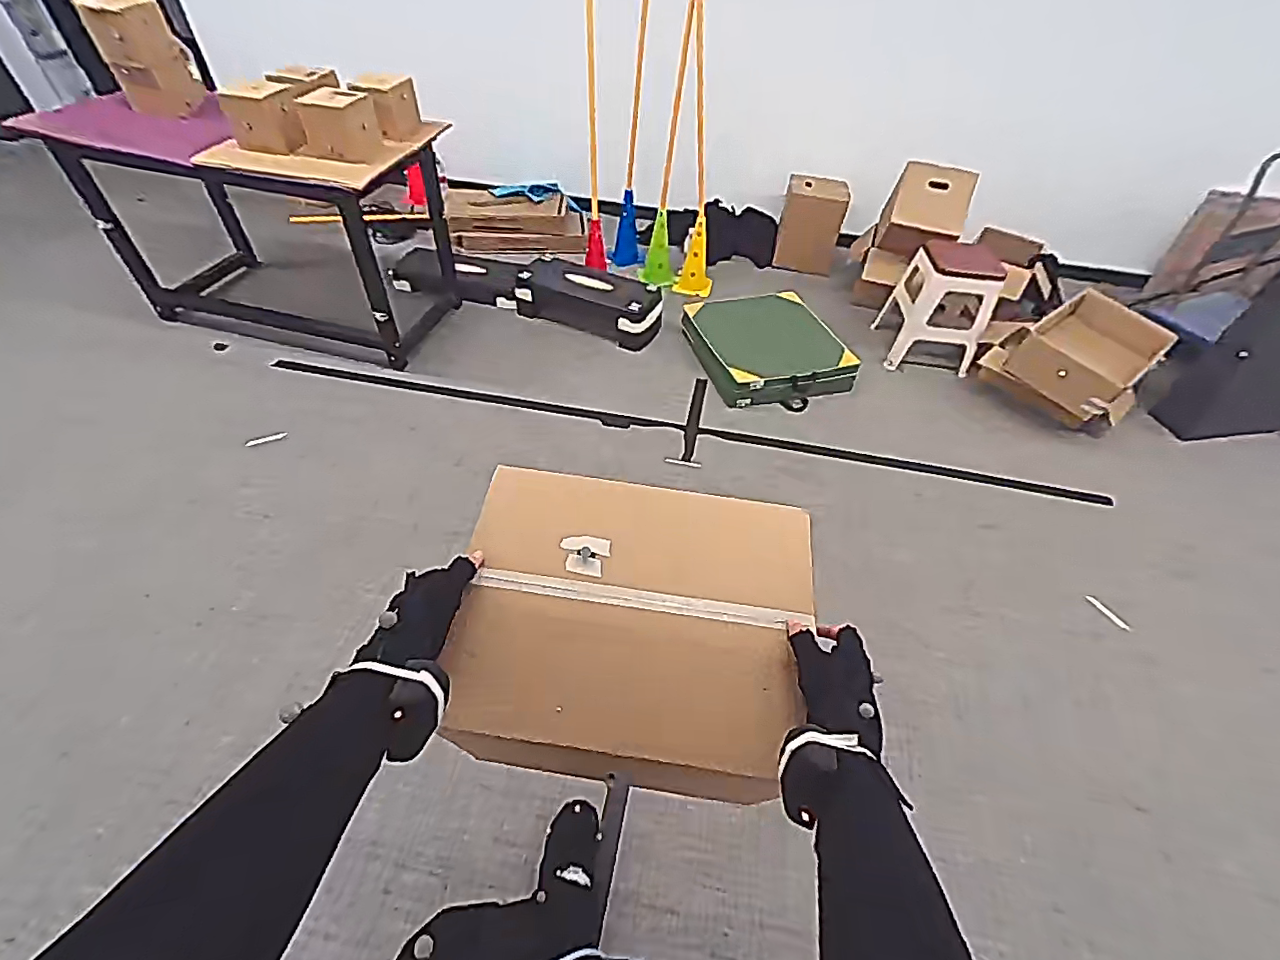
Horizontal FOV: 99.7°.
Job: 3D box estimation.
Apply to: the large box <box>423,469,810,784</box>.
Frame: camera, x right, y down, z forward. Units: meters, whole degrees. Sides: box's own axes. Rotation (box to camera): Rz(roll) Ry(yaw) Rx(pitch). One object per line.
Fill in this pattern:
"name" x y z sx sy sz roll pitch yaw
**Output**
"large box" -0.012 0.216 0.750 0.408 0.320 0.320 8 56 2
